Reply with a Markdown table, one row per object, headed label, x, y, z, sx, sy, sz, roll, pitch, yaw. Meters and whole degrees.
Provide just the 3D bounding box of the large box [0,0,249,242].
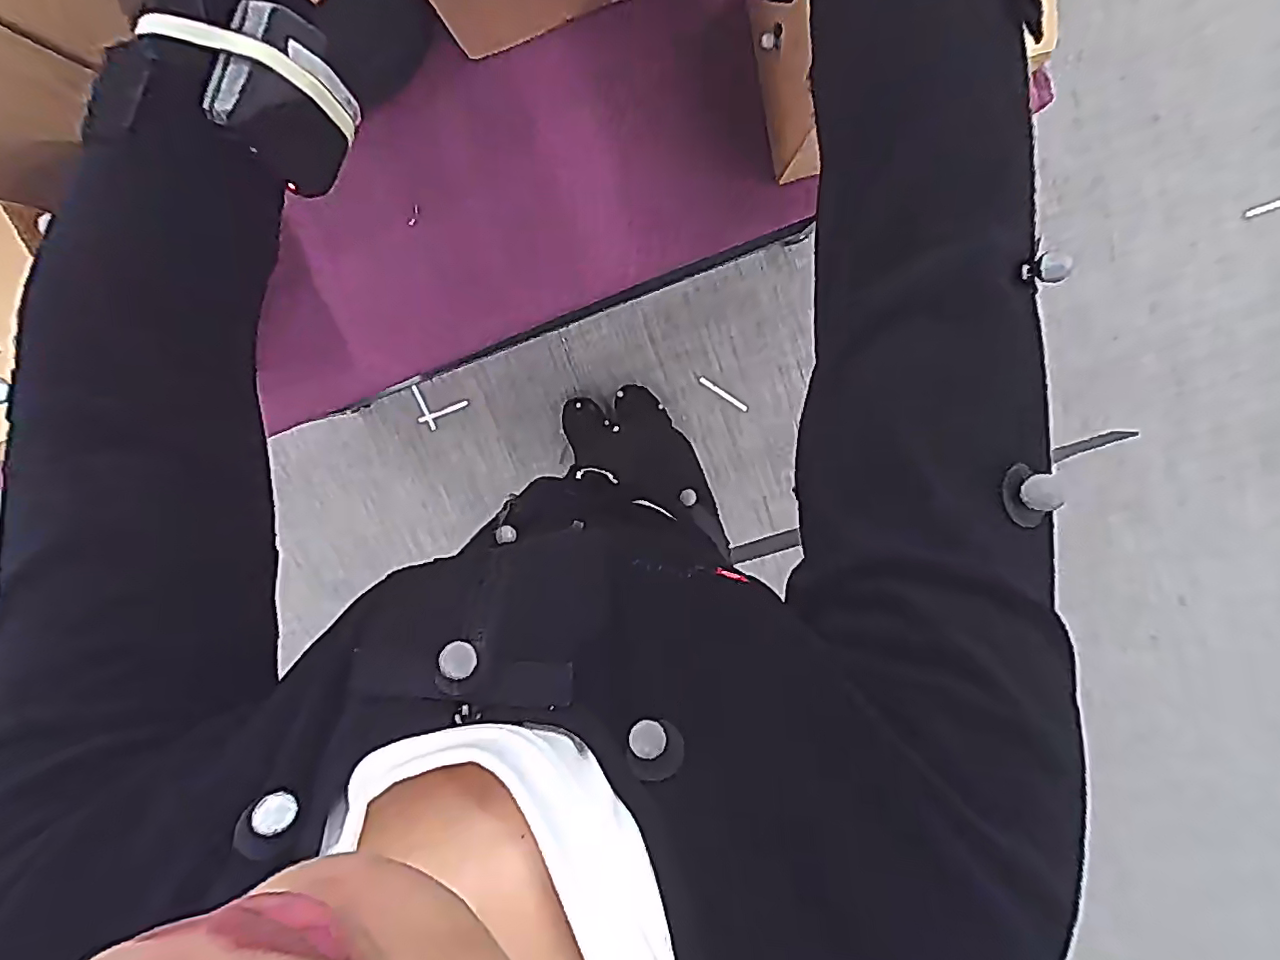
| label | x | y | z | sx | sy | sz | roll | pitch | yaw |
| --- | --- | --- | --- | --- | --- | --- | --- | --- | --- |
| large box | -0.617 | -0.449 | 0.394 | 0.320 | 0.320 | 0.408 | -19 | 105 | 6 |
